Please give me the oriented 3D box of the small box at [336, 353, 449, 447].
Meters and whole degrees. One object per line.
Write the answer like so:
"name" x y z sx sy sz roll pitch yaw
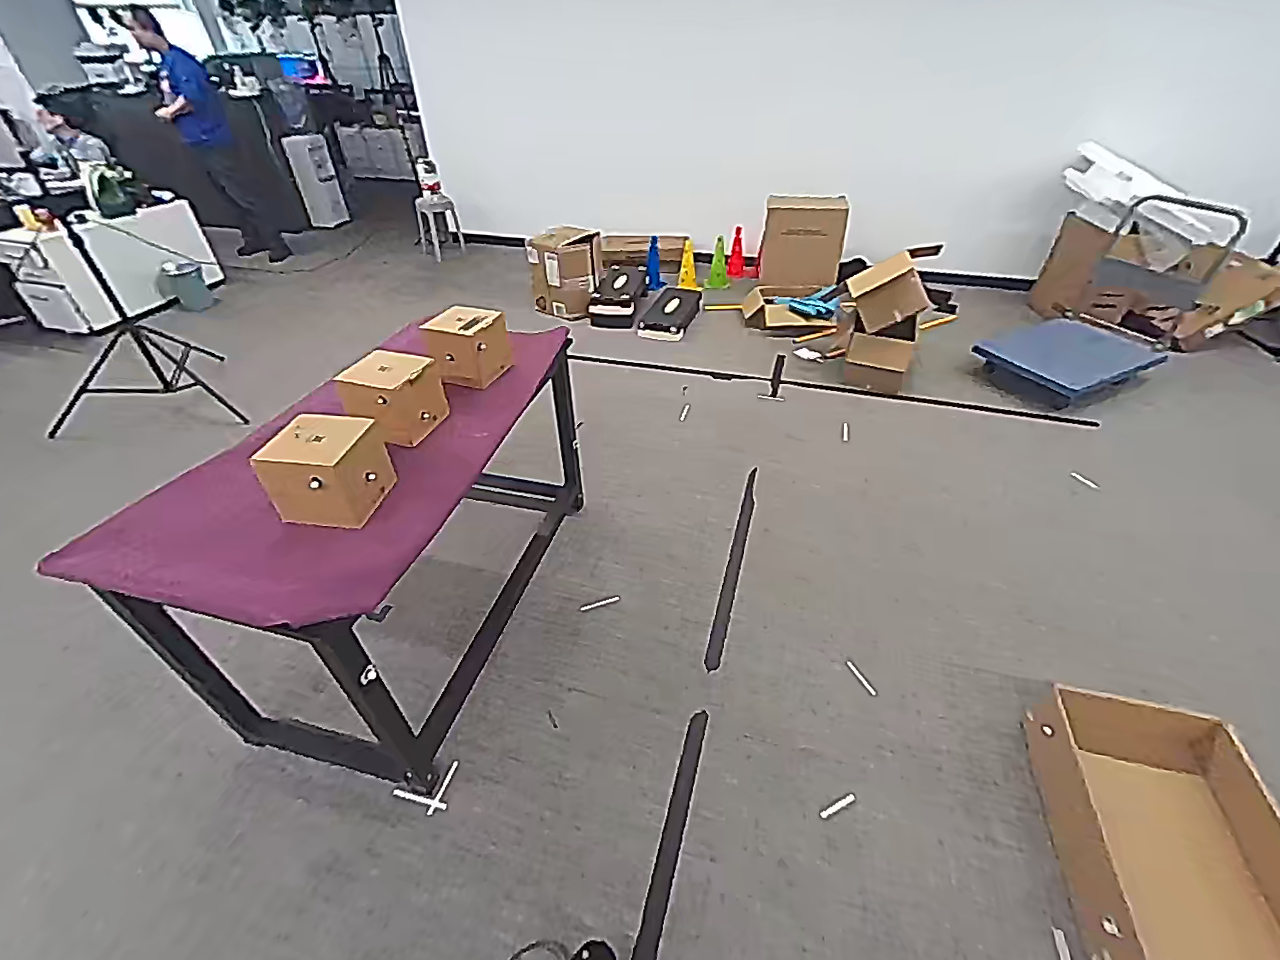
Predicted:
"small box" -0.615 -0.202 1.367 0.179 0.176 0.168 11 41 13

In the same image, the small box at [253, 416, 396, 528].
"small box" -0.646 -0.016 1.136 0.179 0.176 0.168 4 39 6
